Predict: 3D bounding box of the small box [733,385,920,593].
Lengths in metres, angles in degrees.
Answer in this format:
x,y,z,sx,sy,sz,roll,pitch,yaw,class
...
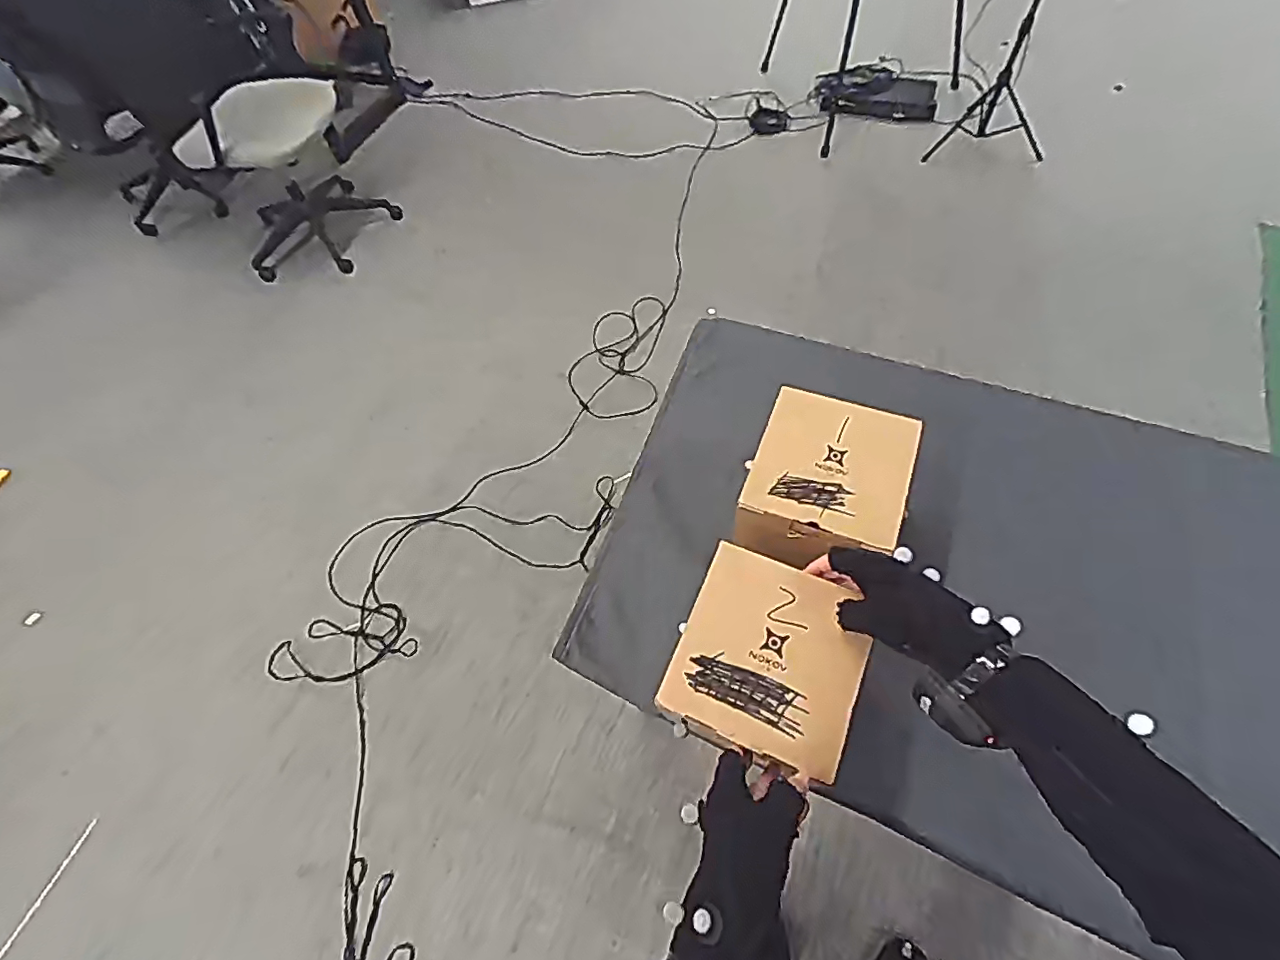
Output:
x,y,z,sx,sy,sz,roll,pitch,yaw,class
0.219,0.018,0.671,0.168,0.176,0.179,19,64,16,small box
